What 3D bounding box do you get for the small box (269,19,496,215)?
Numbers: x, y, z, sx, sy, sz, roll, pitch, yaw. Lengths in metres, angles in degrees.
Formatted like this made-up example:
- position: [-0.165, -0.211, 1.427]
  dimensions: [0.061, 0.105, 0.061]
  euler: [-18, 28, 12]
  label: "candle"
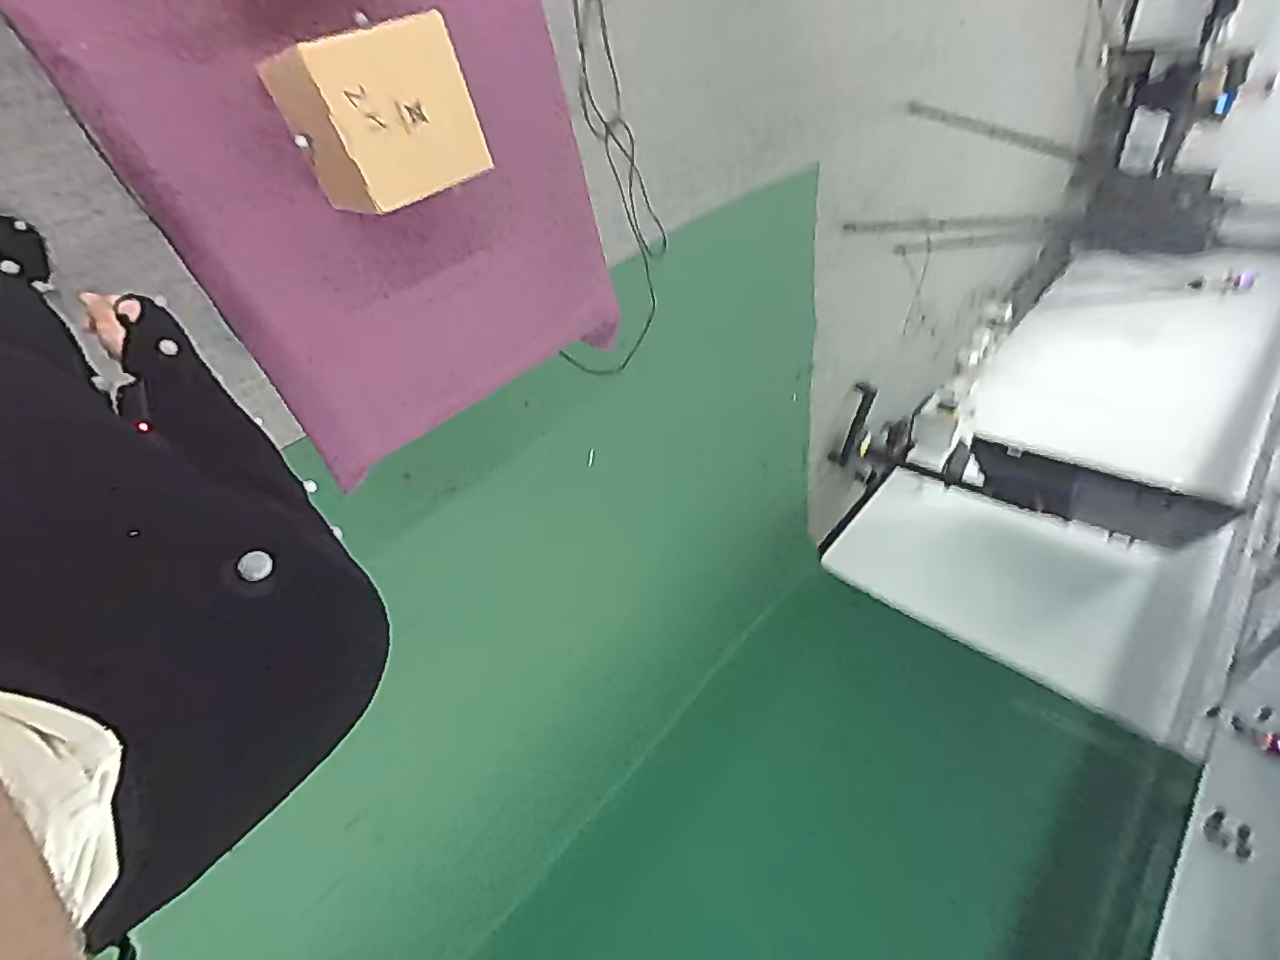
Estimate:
- position: [-0.324, -0.458, 0.690]
  dimensions: [0.179, 0.176, 0.168]
  euler: [-40, 136, -26]
  label: "small box"
